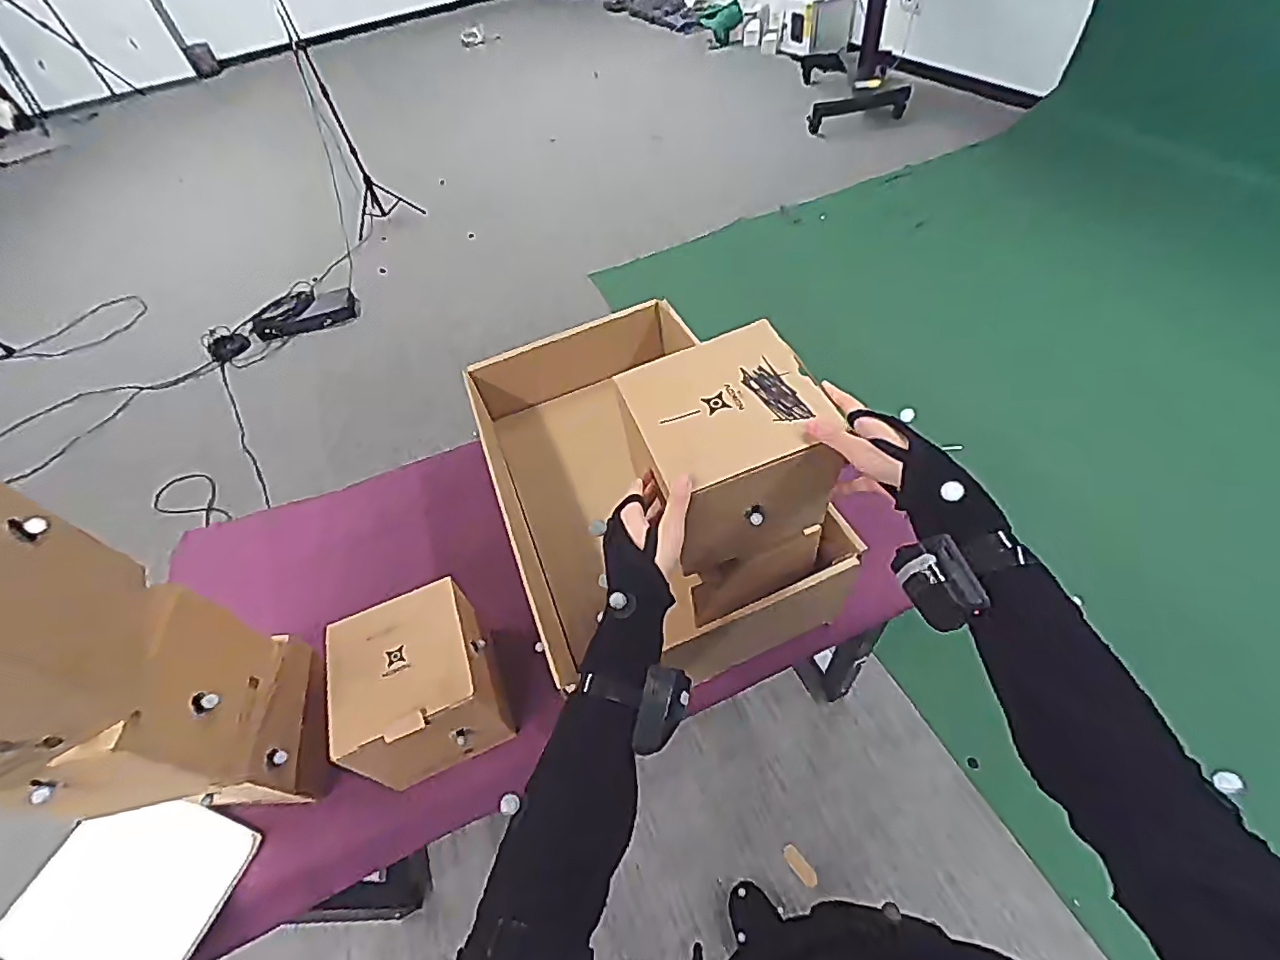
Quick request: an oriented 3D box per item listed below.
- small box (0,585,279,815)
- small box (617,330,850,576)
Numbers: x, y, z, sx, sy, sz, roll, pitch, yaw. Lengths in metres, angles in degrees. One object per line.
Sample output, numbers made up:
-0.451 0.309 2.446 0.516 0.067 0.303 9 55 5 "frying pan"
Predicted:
-0.528 0.235 0.570 0.179 0.176 0.168 -12 51 0 "small box"
0.090 -0.023 0.582 0.179 0.176 0.168 -21 55 -5 "small box"
